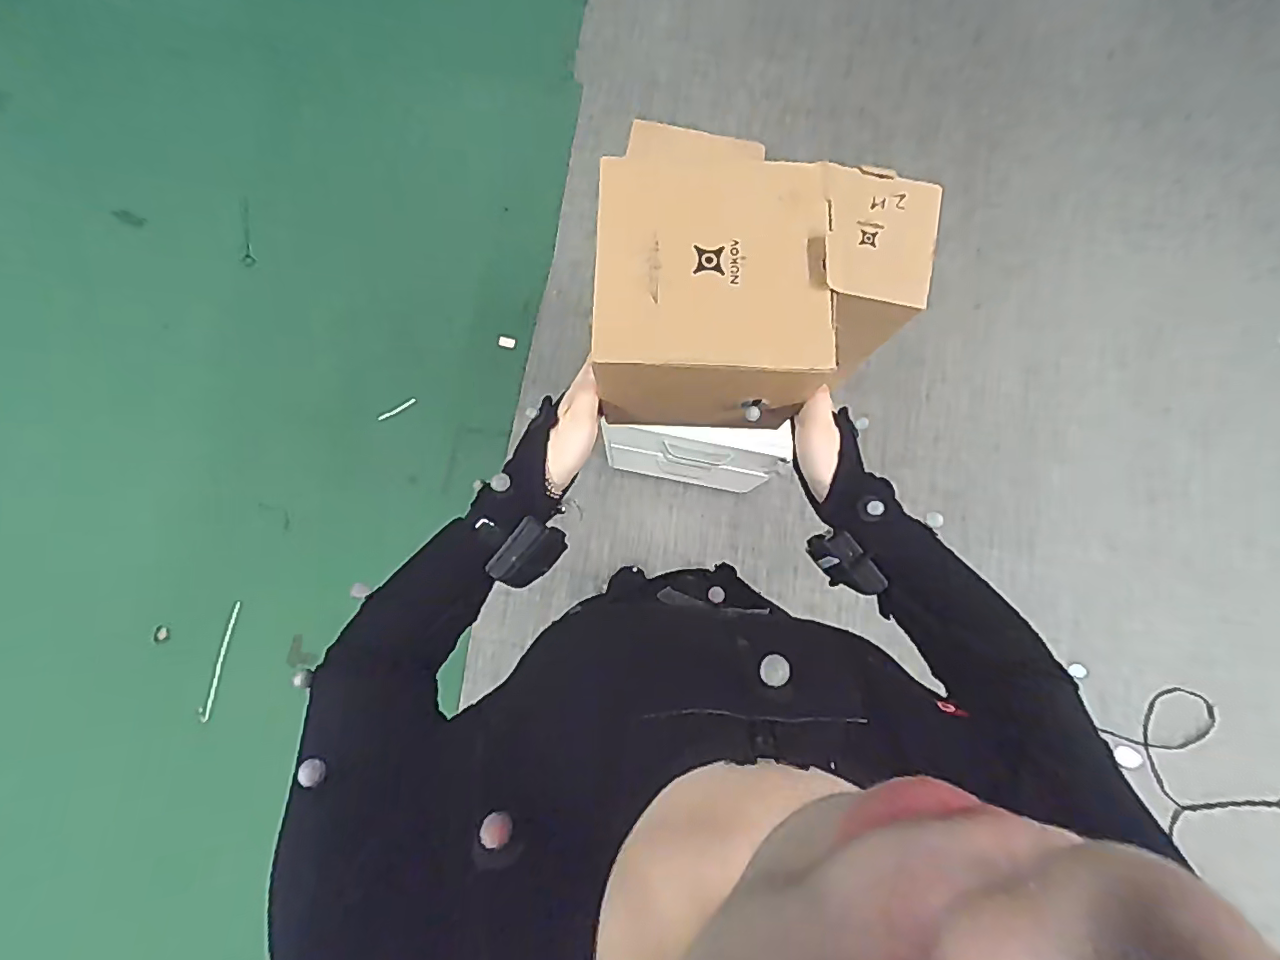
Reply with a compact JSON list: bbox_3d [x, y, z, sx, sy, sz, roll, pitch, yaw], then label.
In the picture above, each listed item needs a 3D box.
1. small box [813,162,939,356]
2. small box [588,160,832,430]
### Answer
[{"bbox_3d":[0.281,-0.294,0.754,0.168,0.176,0.179,12,81,0],"label":"small box"},{"bbox_3d":[0.052,-0.145,0.474,0.179,0.176,0.168,1,80,1],"label":"small box"}]
